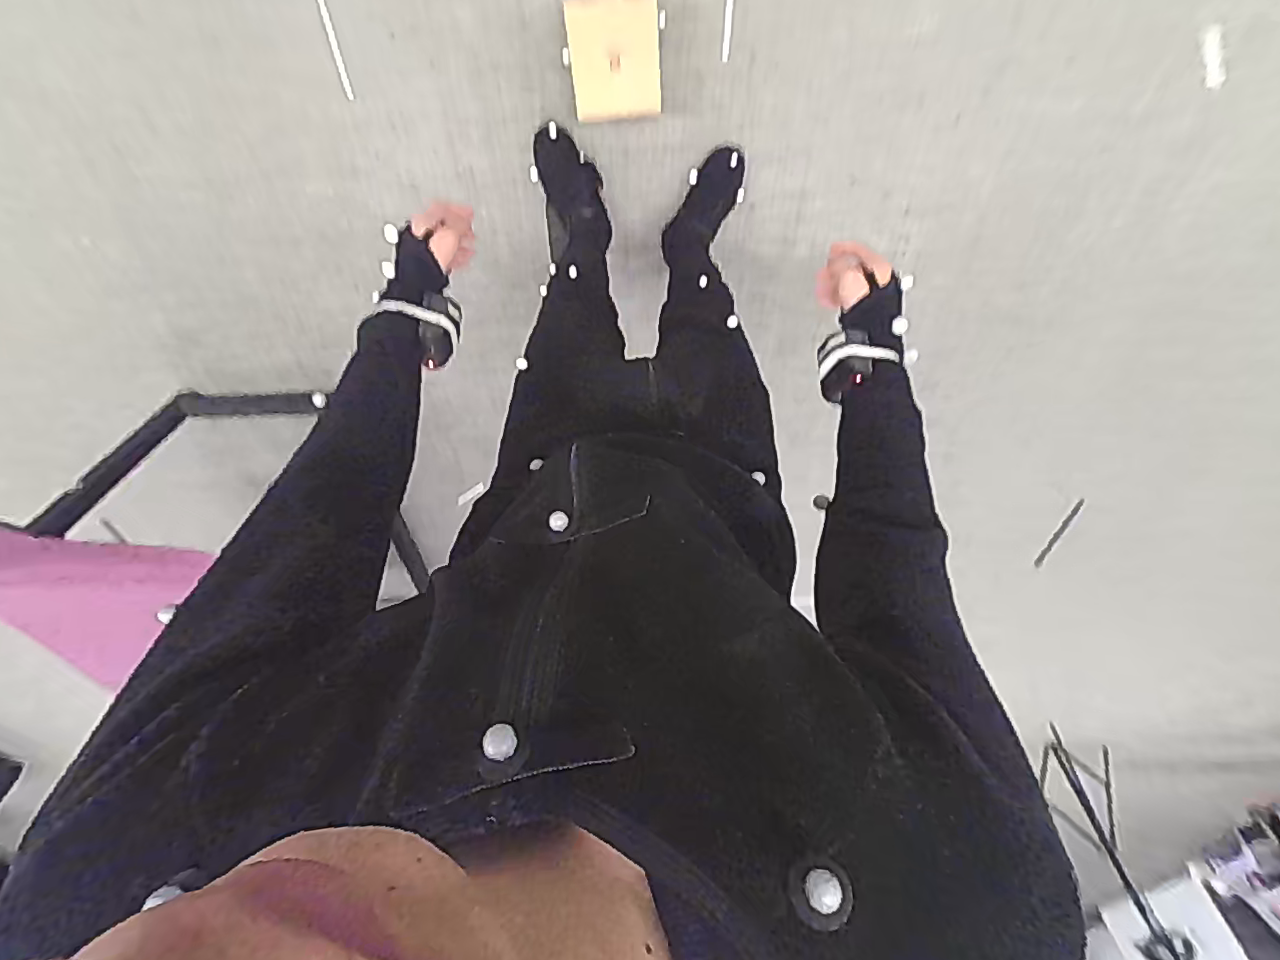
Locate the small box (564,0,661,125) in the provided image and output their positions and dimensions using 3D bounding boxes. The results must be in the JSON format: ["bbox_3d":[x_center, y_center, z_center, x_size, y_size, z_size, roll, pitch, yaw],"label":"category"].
[{"bbox_3d":[-0.045,-0.818,1.053,0.168,0.176,0.179,-4,132,3],"label":"small box"}]
